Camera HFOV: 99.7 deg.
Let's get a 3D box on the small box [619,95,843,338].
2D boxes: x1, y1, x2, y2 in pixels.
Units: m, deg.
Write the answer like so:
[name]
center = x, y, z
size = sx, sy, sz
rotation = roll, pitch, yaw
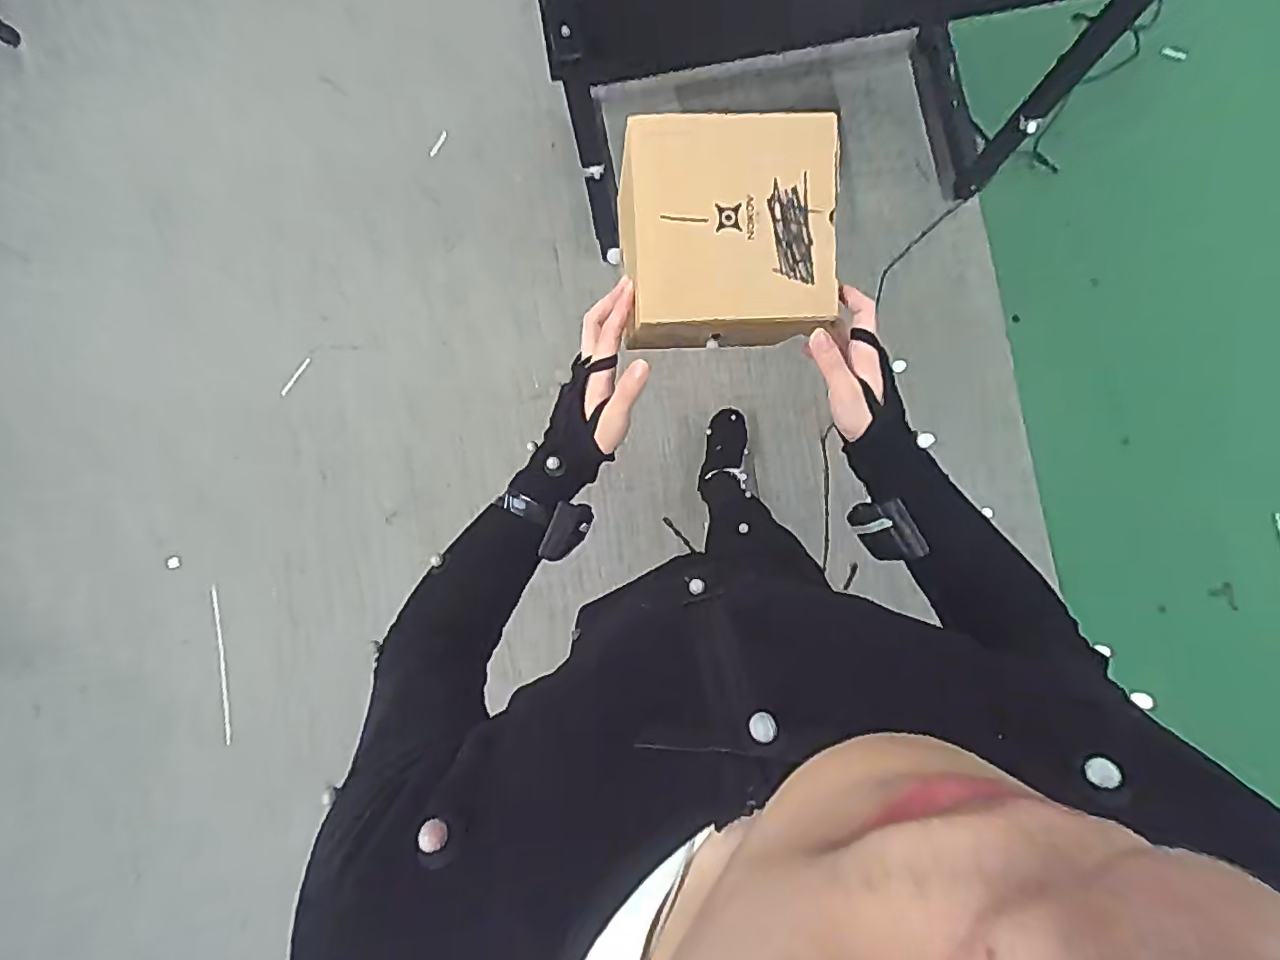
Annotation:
[small box]
center = 0.075, -0.234, 0.521
size = 0.179, 0.176, 0.168
rotation = -3, 96, -4
